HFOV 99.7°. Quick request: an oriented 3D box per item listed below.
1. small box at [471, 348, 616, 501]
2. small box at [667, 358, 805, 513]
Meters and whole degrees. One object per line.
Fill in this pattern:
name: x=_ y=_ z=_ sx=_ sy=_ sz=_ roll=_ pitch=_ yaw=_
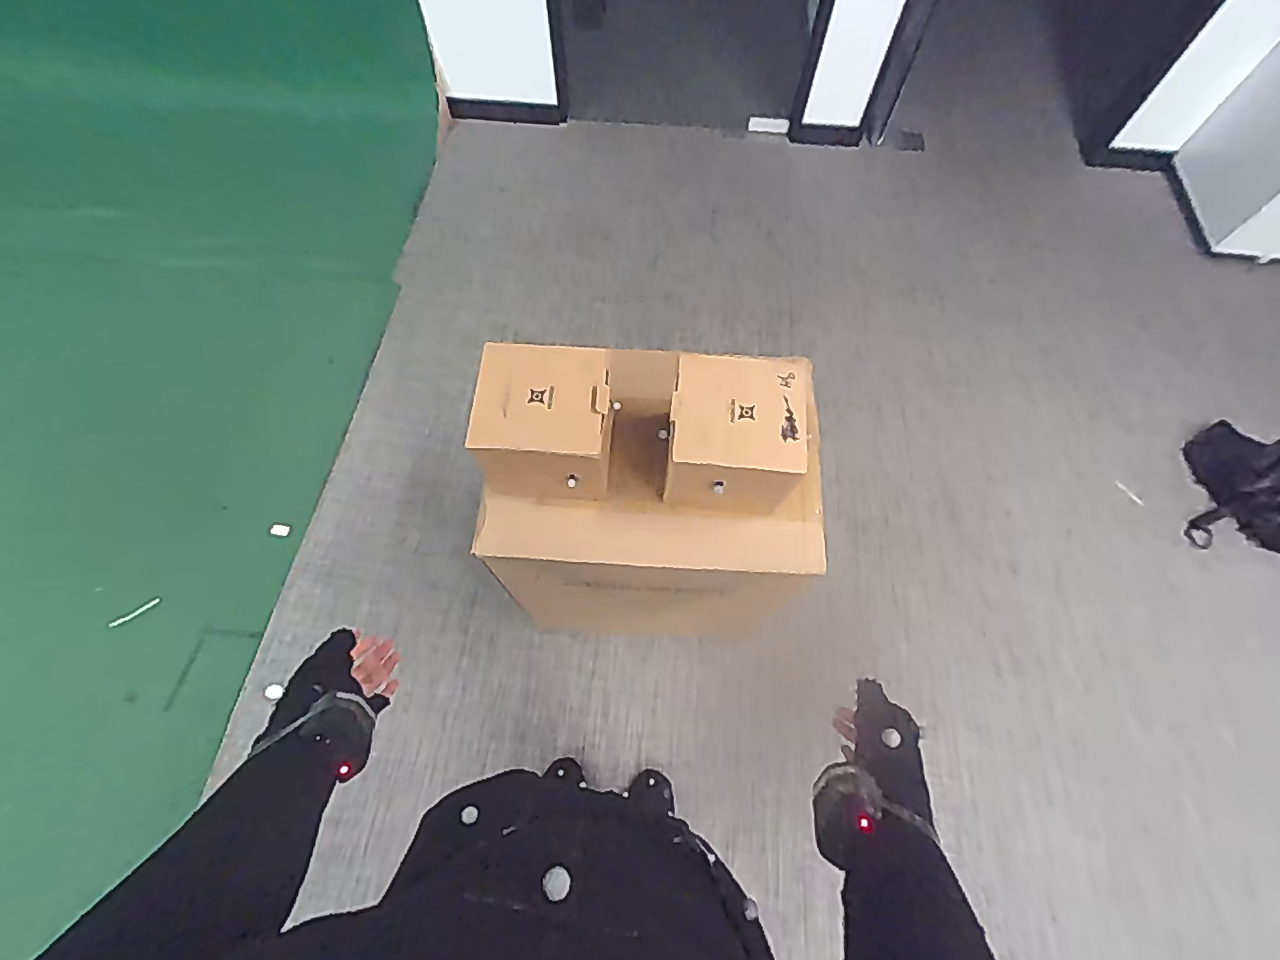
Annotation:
small box: x=-0.129 y=-0.075 z=0.799 sx=0.179 sy=0.176 sz=0.168 roll=2 pitch=67 yaw=1
small box: x=0.133 y=-0.058 z=0.795 sx=0.179 sy=0.176 sz=0.168 roll=5 pitch=69 yaw=1
